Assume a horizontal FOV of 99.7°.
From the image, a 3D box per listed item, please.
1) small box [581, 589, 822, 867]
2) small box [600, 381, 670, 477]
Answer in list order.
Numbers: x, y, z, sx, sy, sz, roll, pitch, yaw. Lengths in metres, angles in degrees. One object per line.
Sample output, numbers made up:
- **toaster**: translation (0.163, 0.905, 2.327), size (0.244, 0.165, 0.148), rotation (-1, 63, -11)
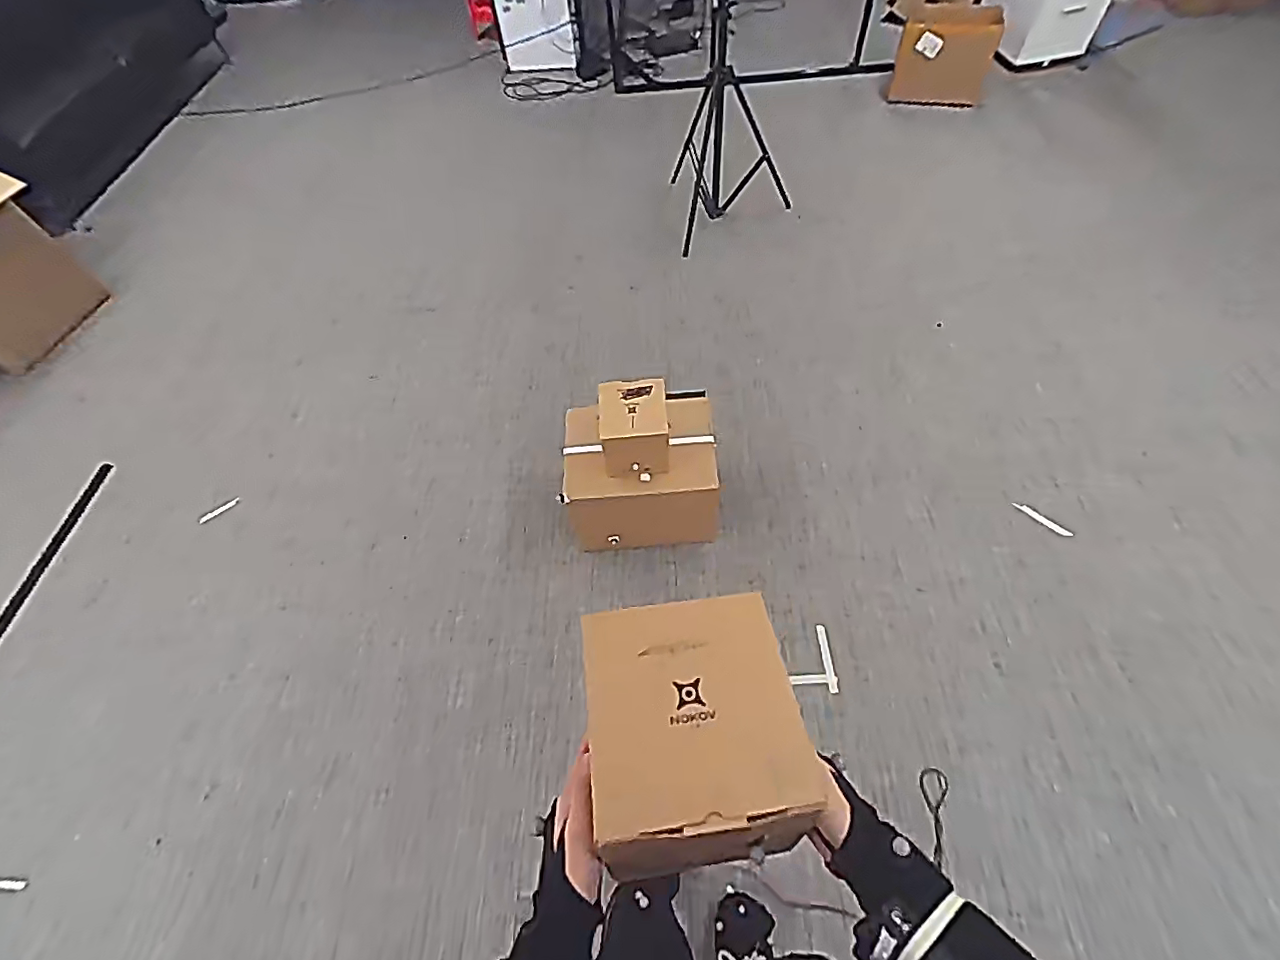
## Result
- **small box**: translation (0.041, 0.226, 0.486), size (0.168, 0.176, 0.179), rotation (-7, 46, -5)
- **small box**: translation (-0.012, -0.127, 1.377), size (0.168, 0.176, 0.179), rotation (-5, 58, 2)
